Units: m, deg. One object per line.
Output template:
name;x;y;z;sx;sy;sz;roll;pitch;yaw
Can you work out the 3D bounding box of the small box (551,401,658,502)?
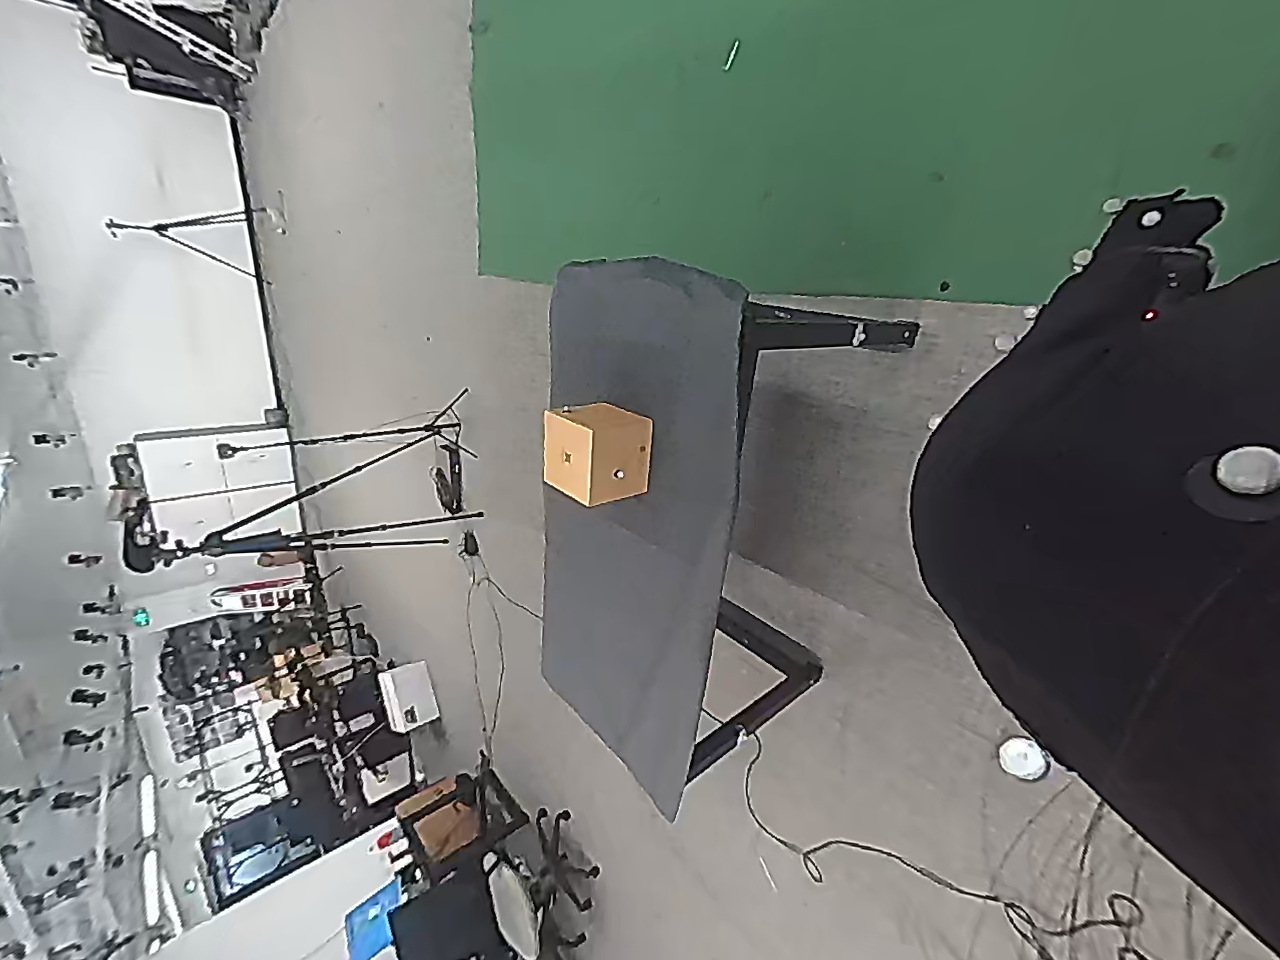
small box;-0.078;-0.071;1.184;0.179;0.176;0.168;26;120;44
